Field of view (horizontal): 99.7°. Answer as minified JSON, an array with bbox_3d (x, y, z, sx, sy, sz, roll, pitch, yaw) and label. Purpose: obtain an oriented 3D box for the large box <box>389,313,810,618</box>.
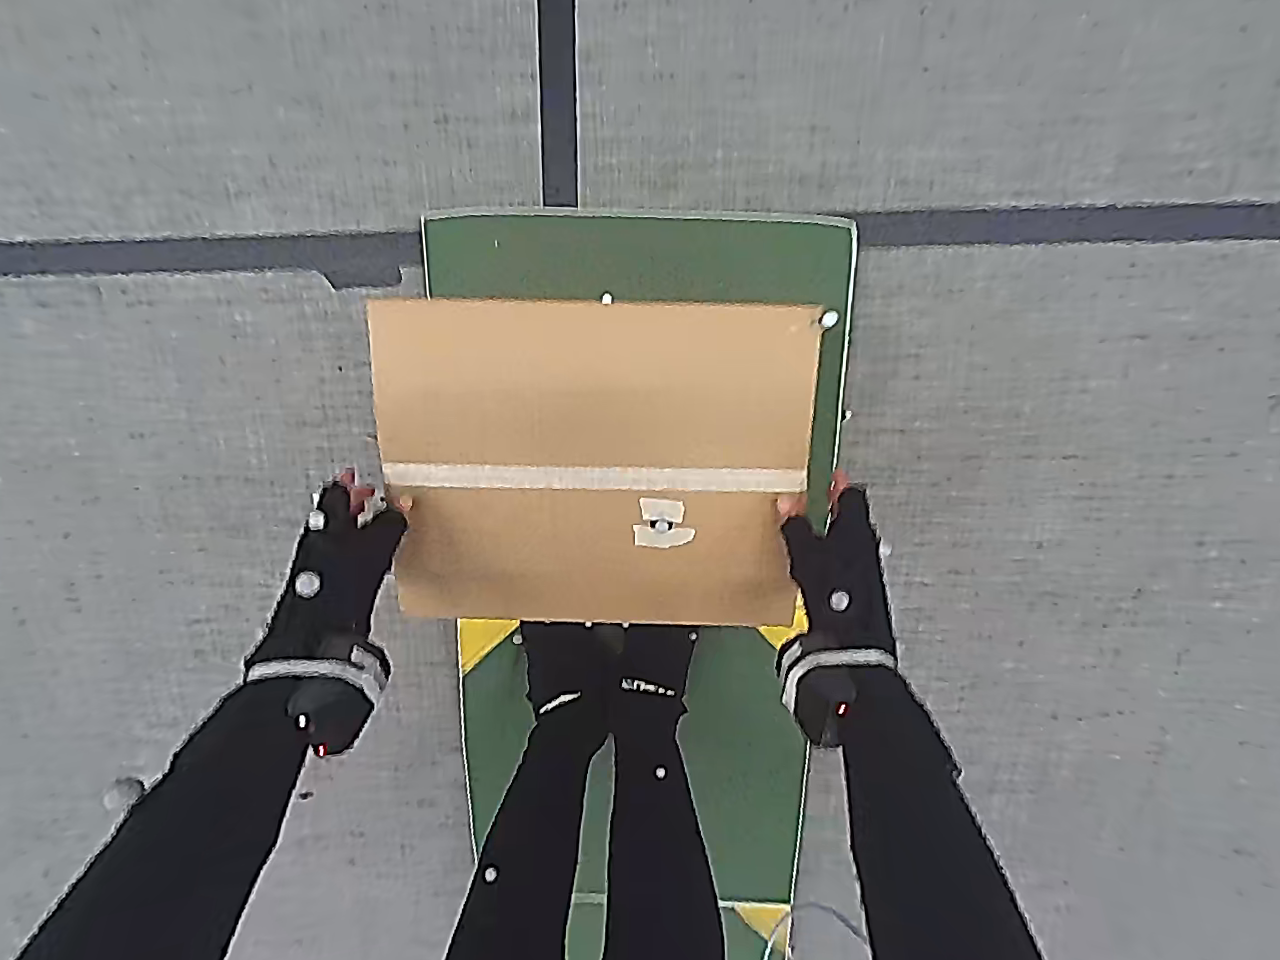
[{"bbox_3d":[-0.040,-0.036,0.684,0.408,0.320,0.320,1,104,0],"label":"large box"}]
